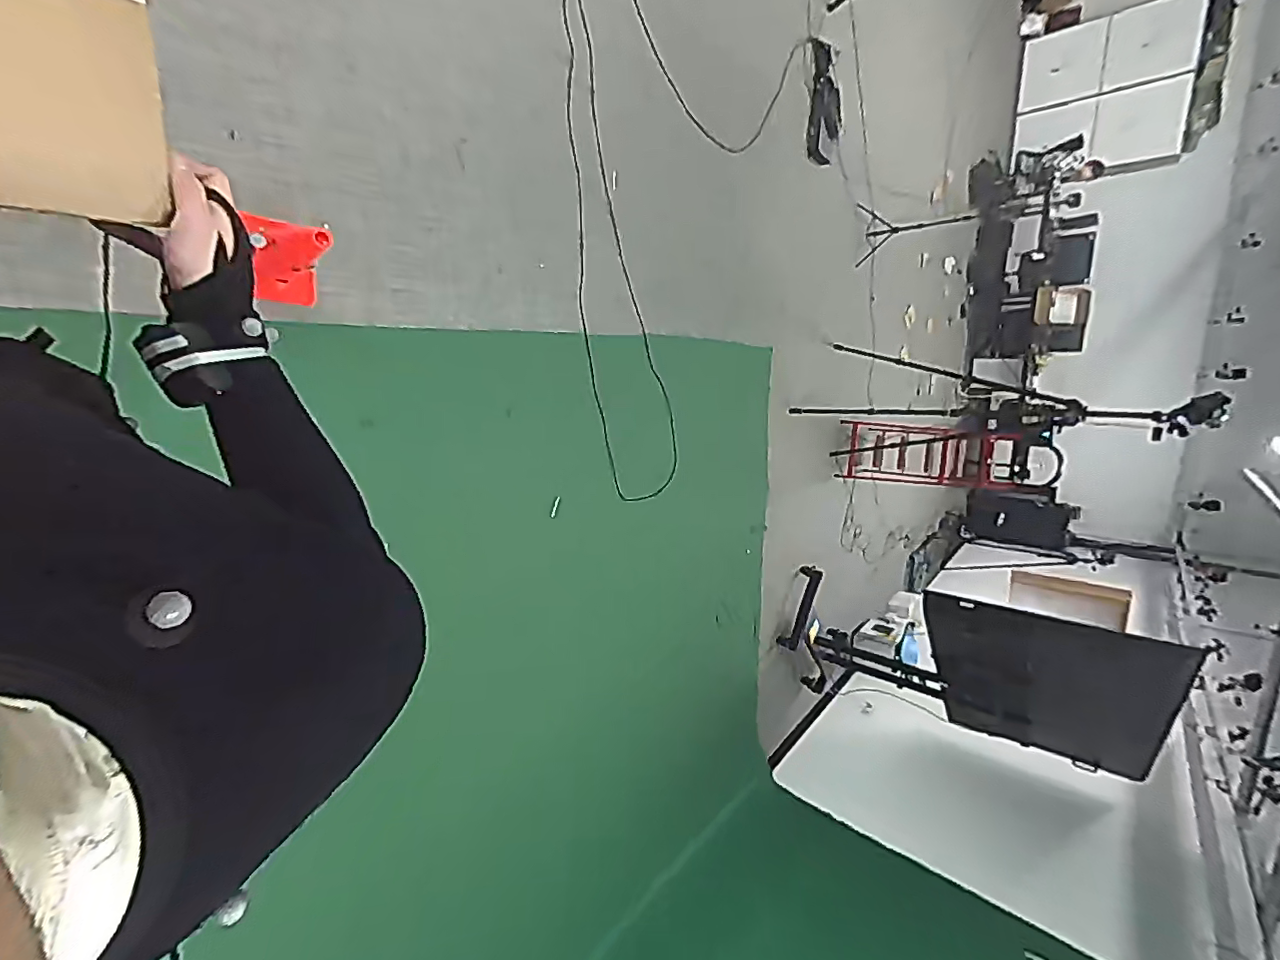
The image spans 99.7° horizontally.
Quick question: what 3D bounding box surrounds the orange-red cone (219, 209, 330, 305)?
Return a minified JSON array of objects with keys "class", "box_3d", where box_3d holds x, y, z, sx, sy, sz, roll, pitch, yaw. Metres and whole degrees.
[{"class":"orange-red cone","box_3d":[-0.808,-0.533,1.256,0.199,0.360,0.198,-4,101,-51]}]
